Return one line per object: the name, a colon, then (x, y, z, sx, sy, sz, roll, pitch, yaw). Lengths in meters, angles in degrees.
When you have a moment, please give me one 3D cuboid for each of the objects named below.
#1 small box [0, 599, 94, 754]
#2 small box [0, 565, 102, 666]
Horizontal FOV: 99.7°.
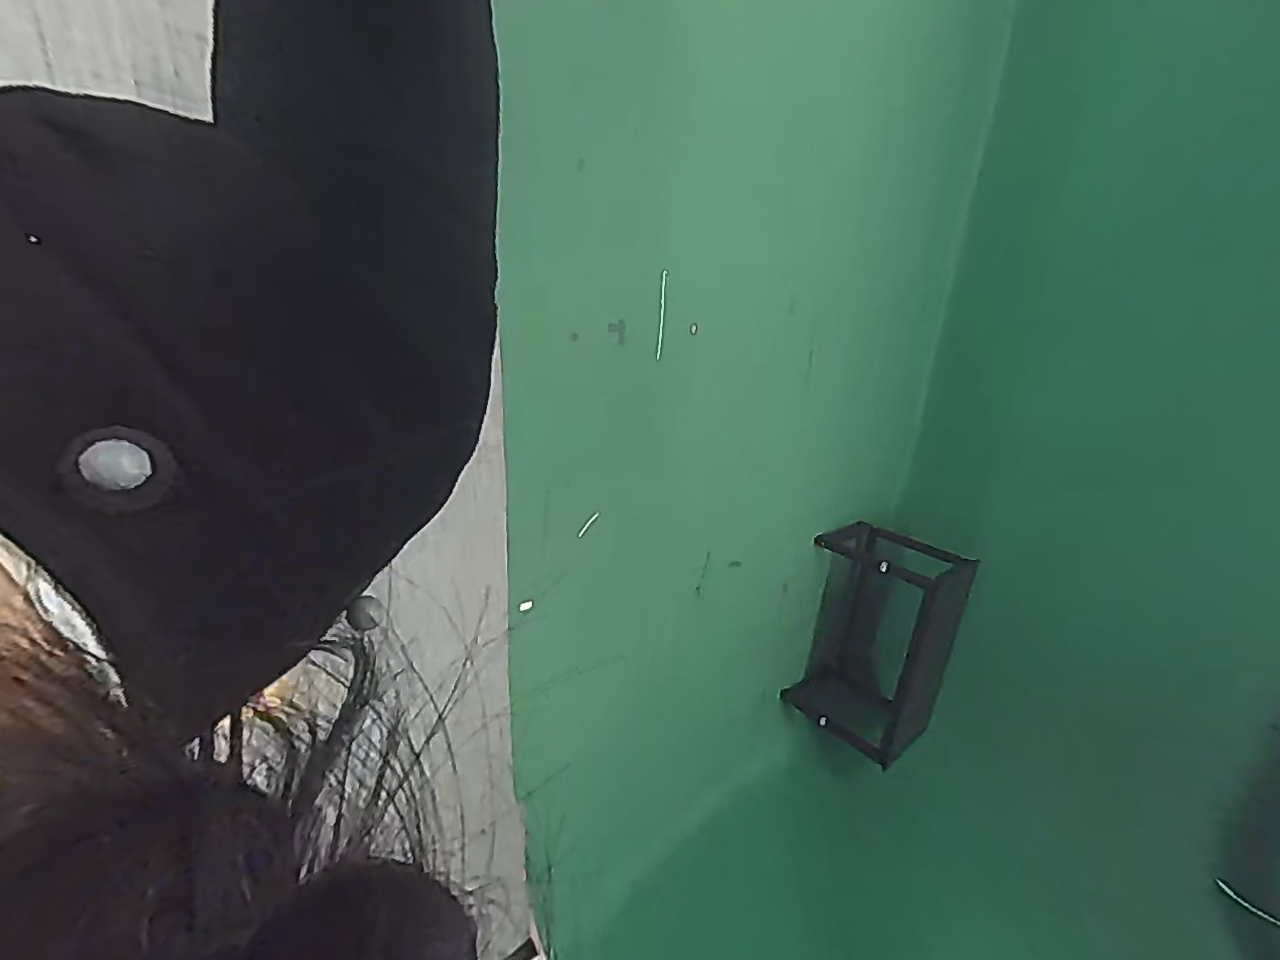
small box: (-1.067, 0.333, 0.916, 0.168, 0.176, 0.179, -18, 118, -38)
small box: (-1.175, 0.285, 1.031, 0.179, 0.176, 0.168, -17, 117, -38)
